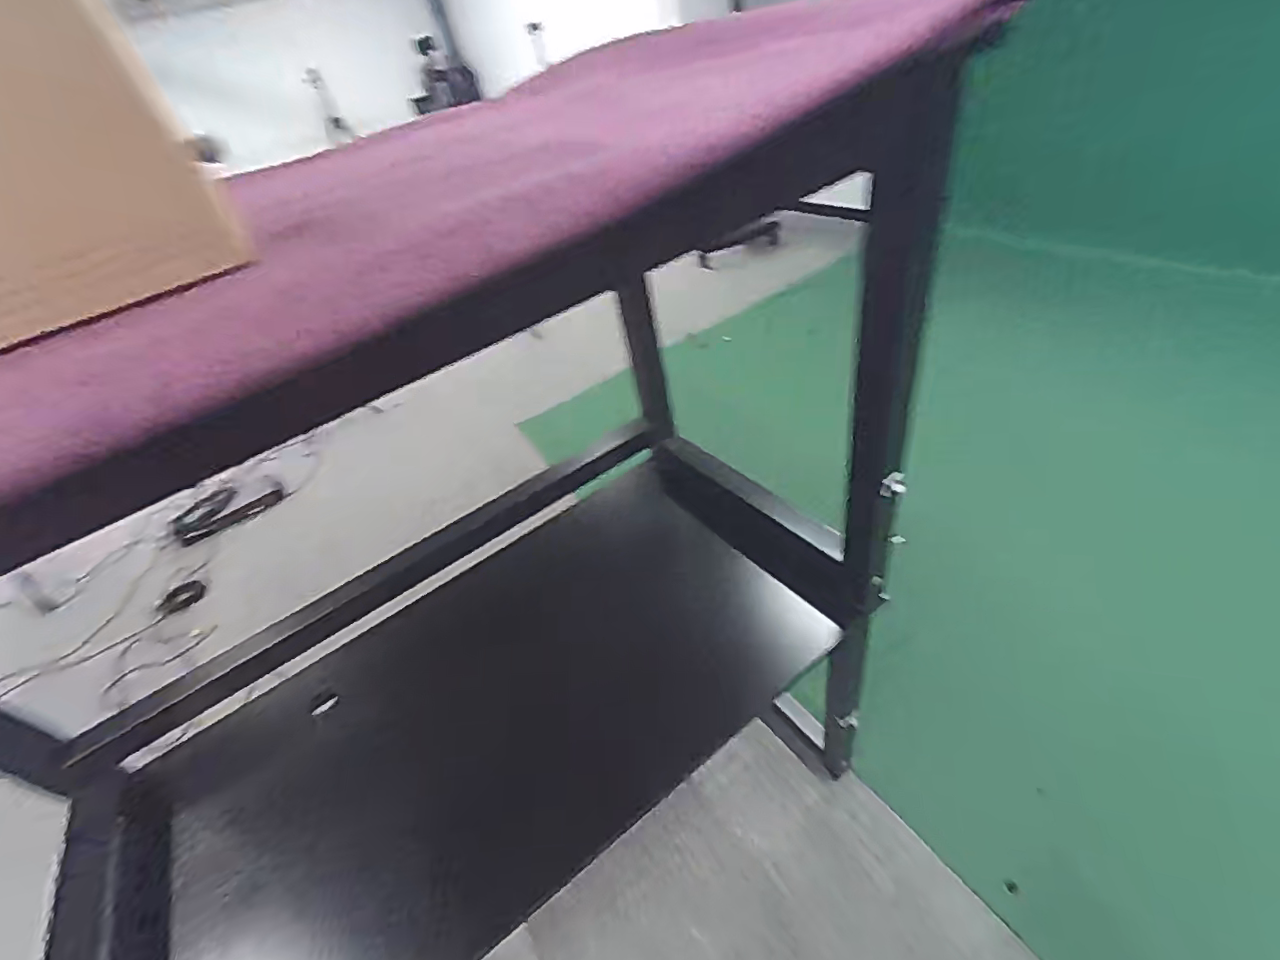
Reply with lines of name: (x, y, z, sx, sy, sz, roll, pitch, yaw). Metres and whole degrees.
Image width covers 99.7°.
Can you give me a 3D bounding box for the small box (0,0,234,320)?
small box: (-0.343, -0.176, 0.260, 0.179, 0.176, 0.168, -31, 42, -19)
